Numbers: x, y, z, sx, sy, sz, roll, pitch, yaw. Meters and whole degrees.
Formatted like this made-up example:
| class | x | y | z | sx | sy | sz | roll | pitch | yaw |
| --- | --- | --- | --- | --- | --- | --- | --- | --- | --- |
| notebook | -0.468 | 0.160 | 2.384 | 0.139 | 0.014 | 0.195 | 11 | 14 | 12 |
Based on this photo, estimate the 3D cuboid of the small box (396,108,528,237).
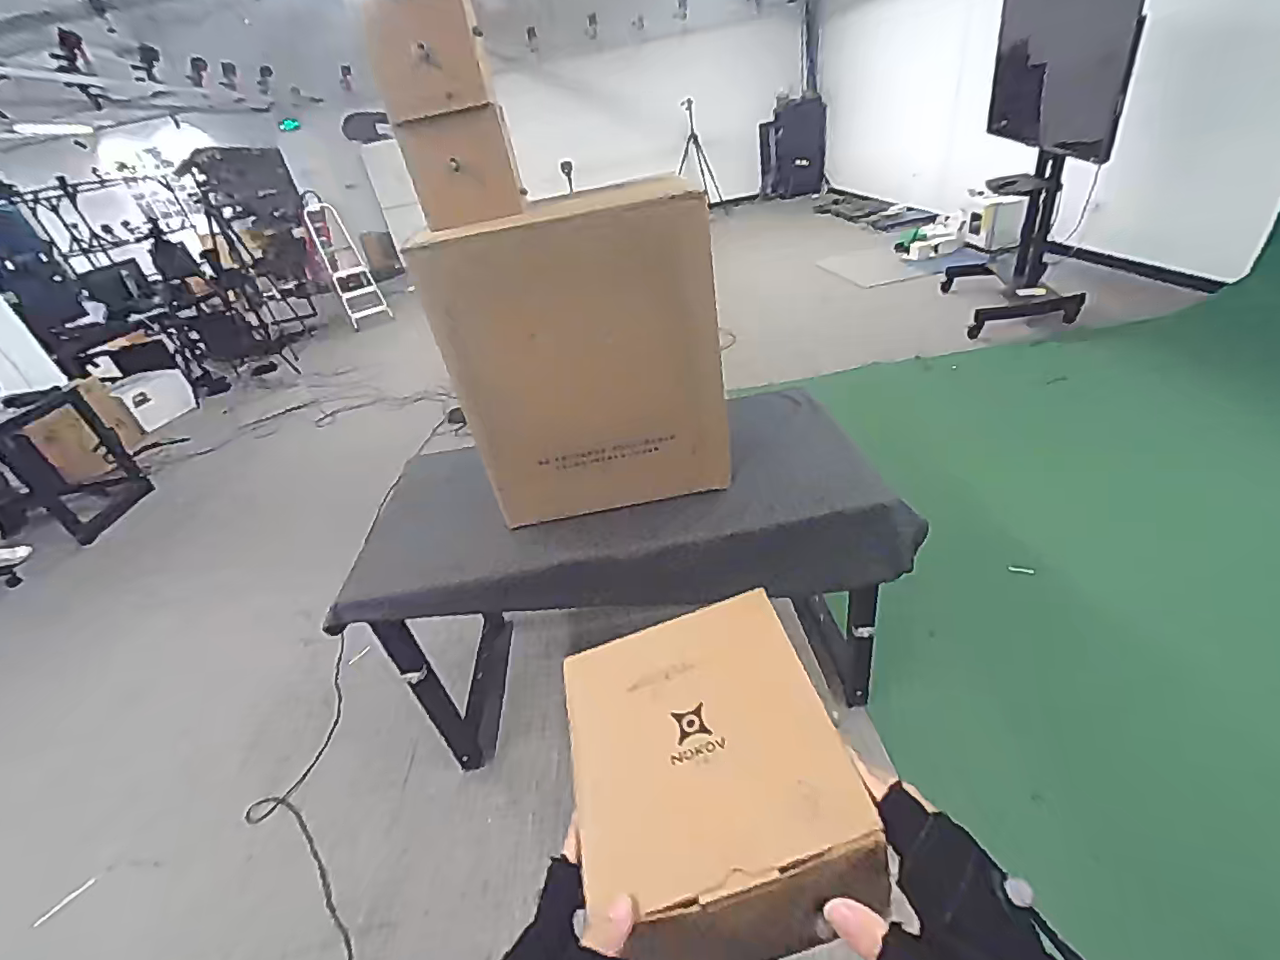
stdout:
| class | x | y | z | sx | sy | sz | roll | pitch | yaw |
| --- | --- | --- | --- | --- | --- | --- | --- | --- | --- |
| small box | -0.315 | -0.570 | 1.000 | 0.179 | 0.176 | 0.168 | -14 | 35 | 0 |

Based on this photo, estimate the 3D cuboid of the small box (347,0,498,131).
| class | x | y | z | sx | sy | sz | roll | pitch | yaw |
| --- | --- | --- | --- | --- | --- | --- | --- | --- | --- |
| small box | -0.344 | -0.694 | 0.899 | 0.168 | 0.176 | 0.179 | -13 | 36 | -1 |
